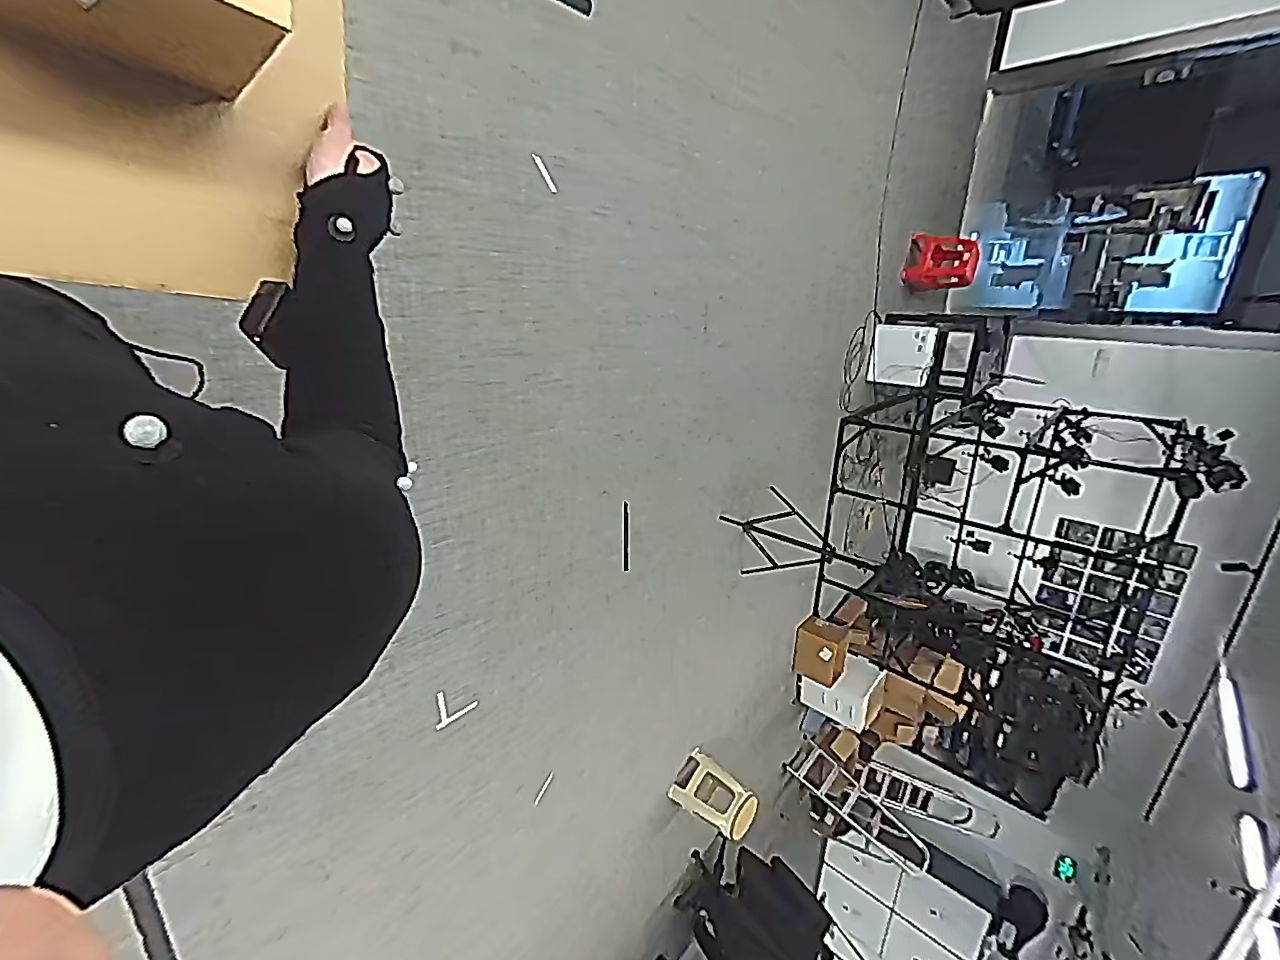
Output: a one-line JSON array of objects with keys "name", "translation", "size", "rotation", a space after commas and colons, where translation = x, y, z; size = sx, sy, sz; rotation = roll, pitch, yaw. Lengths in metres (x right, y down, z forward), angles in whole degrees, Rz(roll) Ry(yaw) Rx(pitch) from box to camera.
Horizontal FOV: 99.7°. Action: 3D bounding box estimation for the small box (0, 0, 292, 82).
[{"name": "small box", "translation": [-0.341, -0.385, 0.336], "size": [0.179, 0.176, 0.168], "rotation": [-7, 107, -45]}]
